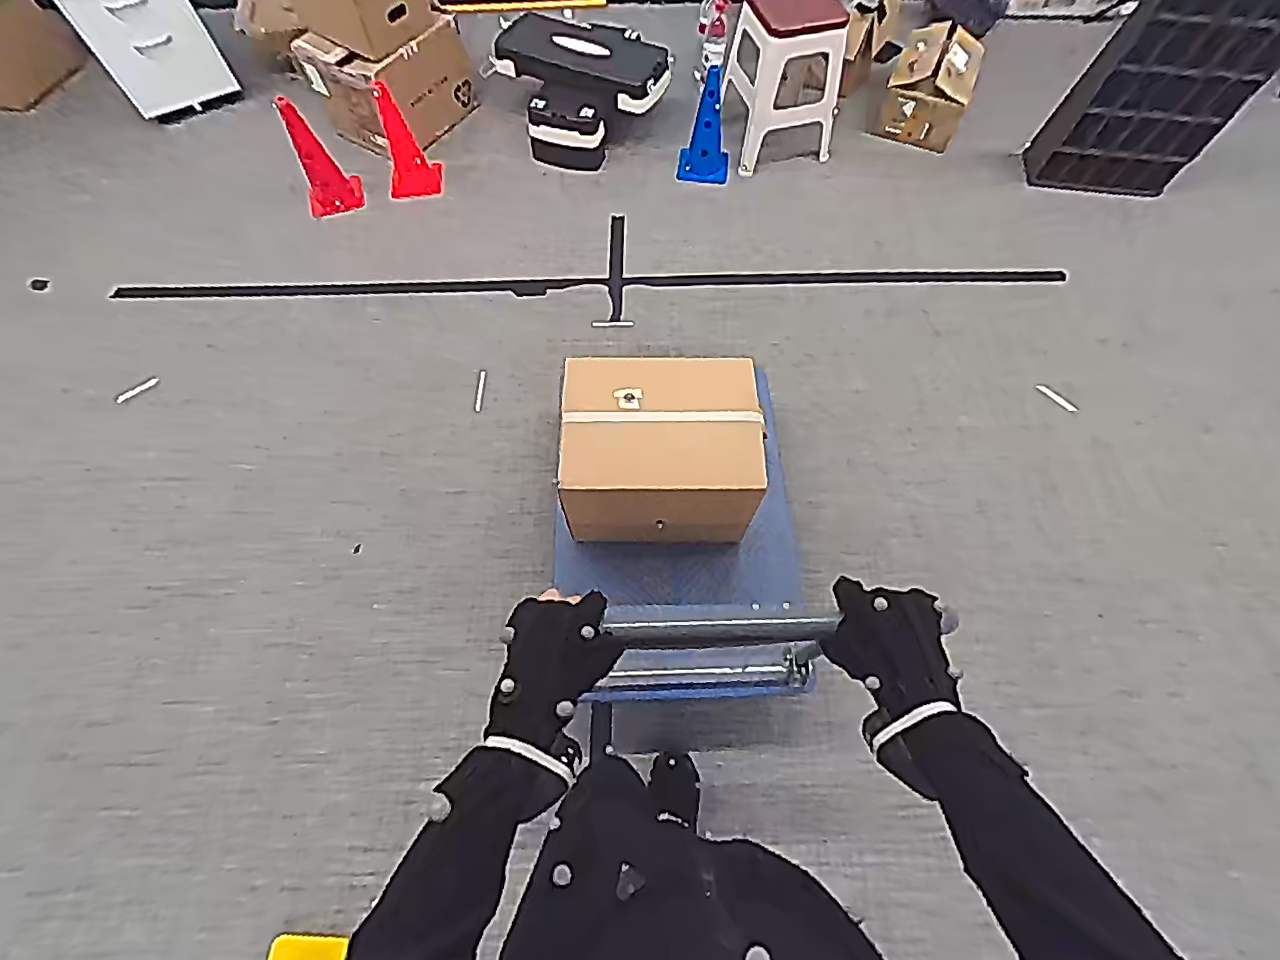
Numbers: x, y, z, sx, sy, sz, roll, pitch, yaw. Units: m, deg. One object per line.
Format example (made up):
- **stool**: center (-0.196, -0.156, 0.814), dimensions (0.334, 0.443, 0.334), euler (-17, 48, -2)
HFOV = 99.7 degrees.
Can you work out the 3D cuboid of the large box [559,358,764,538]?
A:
- **large box**: center (0.042, -0.059, 1.237), dimensions (0.408, 0.320, 0.320), euler (0, 64, 0)
